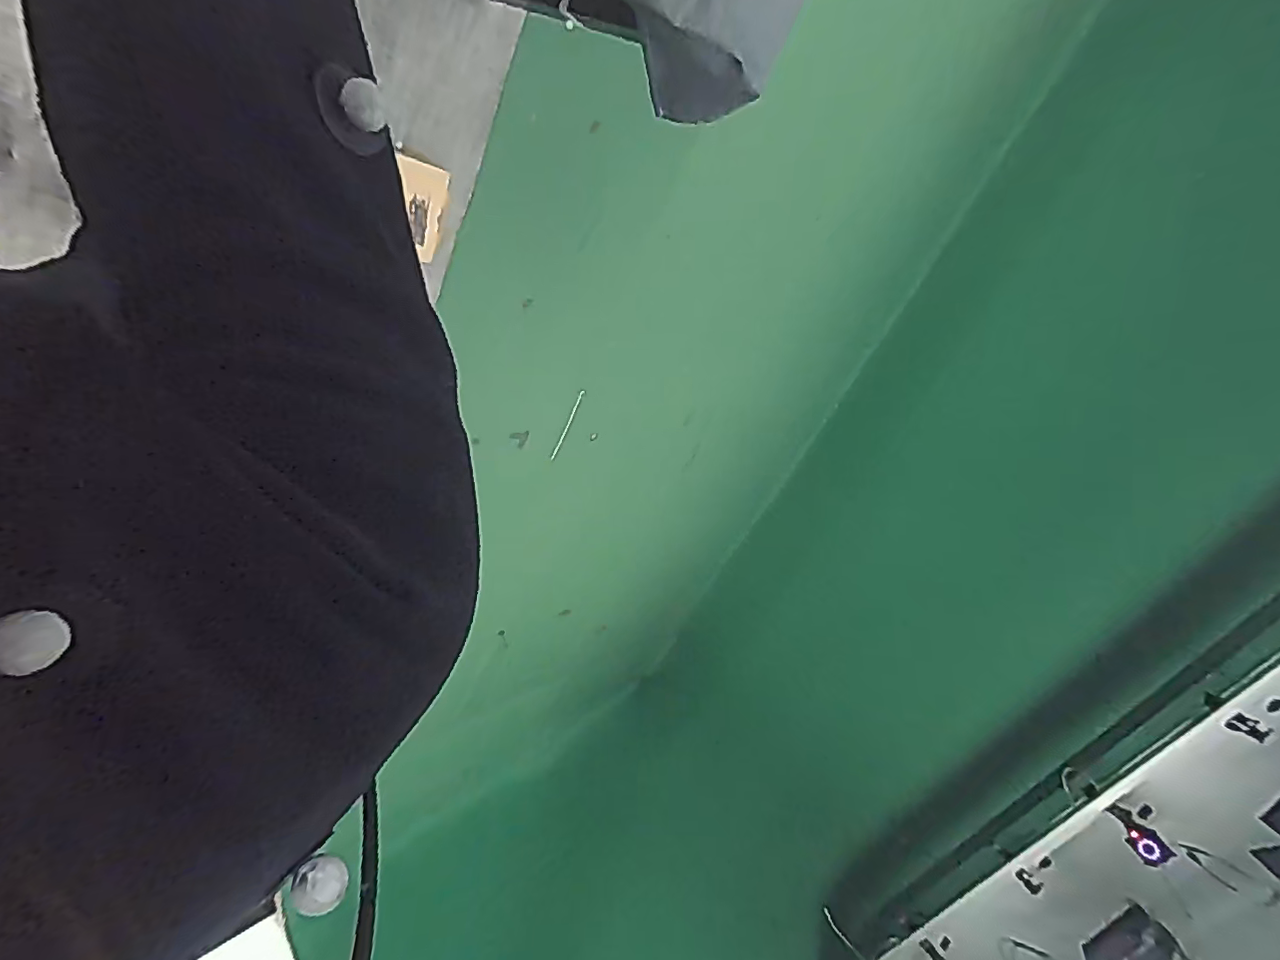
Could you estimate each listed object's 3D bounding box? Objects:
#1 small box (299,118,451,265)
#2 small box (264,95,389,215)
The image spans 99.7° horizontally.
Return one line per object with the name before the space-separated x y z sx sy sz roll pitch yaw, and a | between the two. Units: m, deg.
small box | -0.467 -0.503 0.950 0.179 0.176 0.168 -10 132 -48
small box | -0.580 -0.595 1.025 0.179 0.176 0.168 -10 132 -48
